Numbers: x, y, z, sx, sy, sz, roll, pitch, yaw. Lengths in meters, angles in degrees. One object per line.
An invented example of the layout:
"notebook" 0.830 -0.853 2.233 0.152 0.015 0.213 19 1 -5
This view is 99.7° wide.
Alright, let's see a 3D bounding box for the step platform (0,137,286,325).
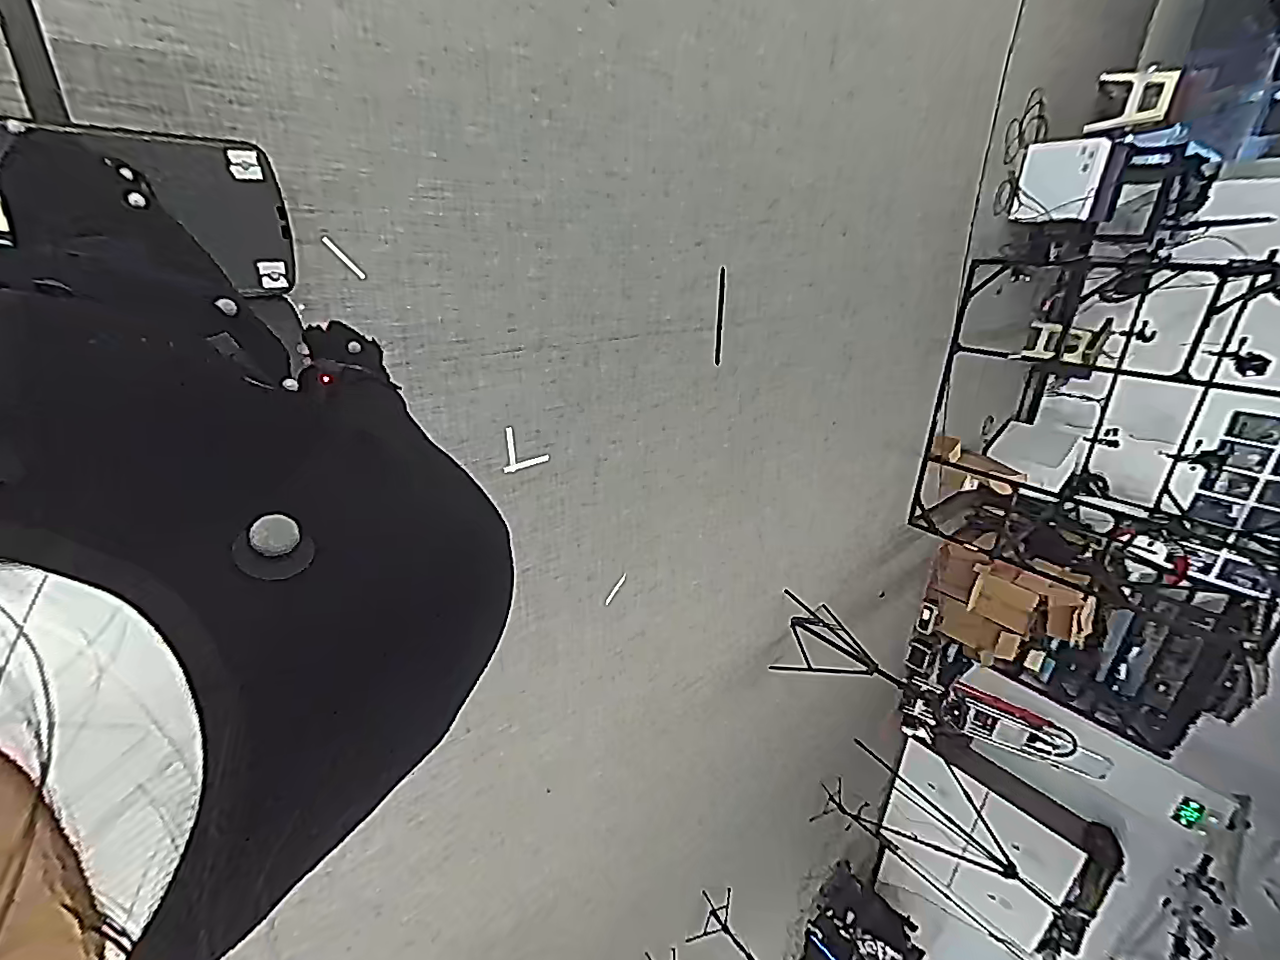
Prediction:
"step platform" -1.040 -0.438 0.961 0.684 0.204 0.286 -20 122 -37
